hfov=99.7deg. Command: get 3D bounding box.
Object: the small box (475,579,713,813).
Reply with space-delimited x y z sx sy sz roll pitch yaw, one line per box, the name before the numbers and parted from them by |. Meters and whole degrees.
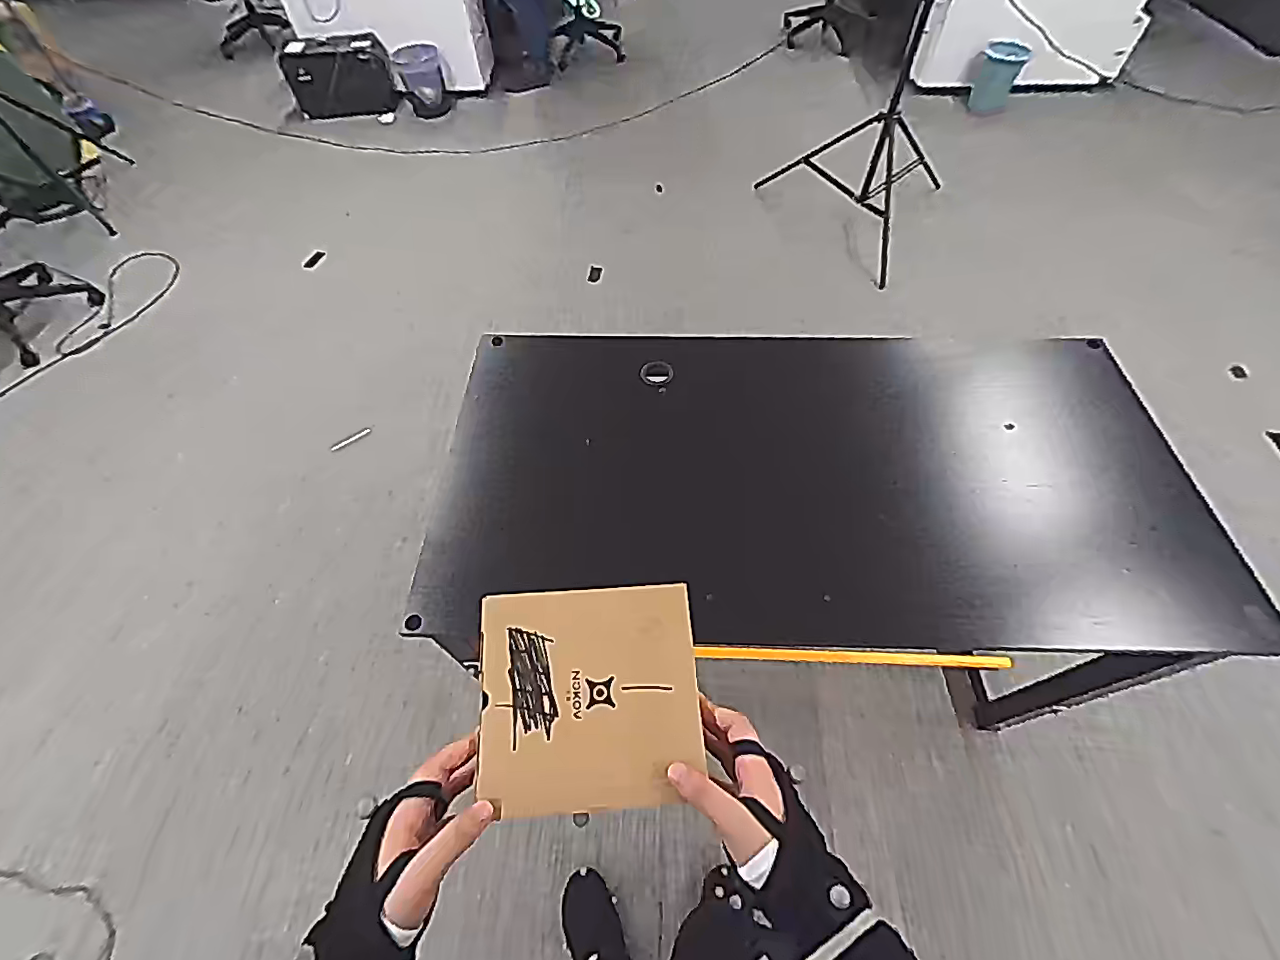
small box | -0.040 0.196 0.496 0.179 0.176 0.168 -3 66 -4
